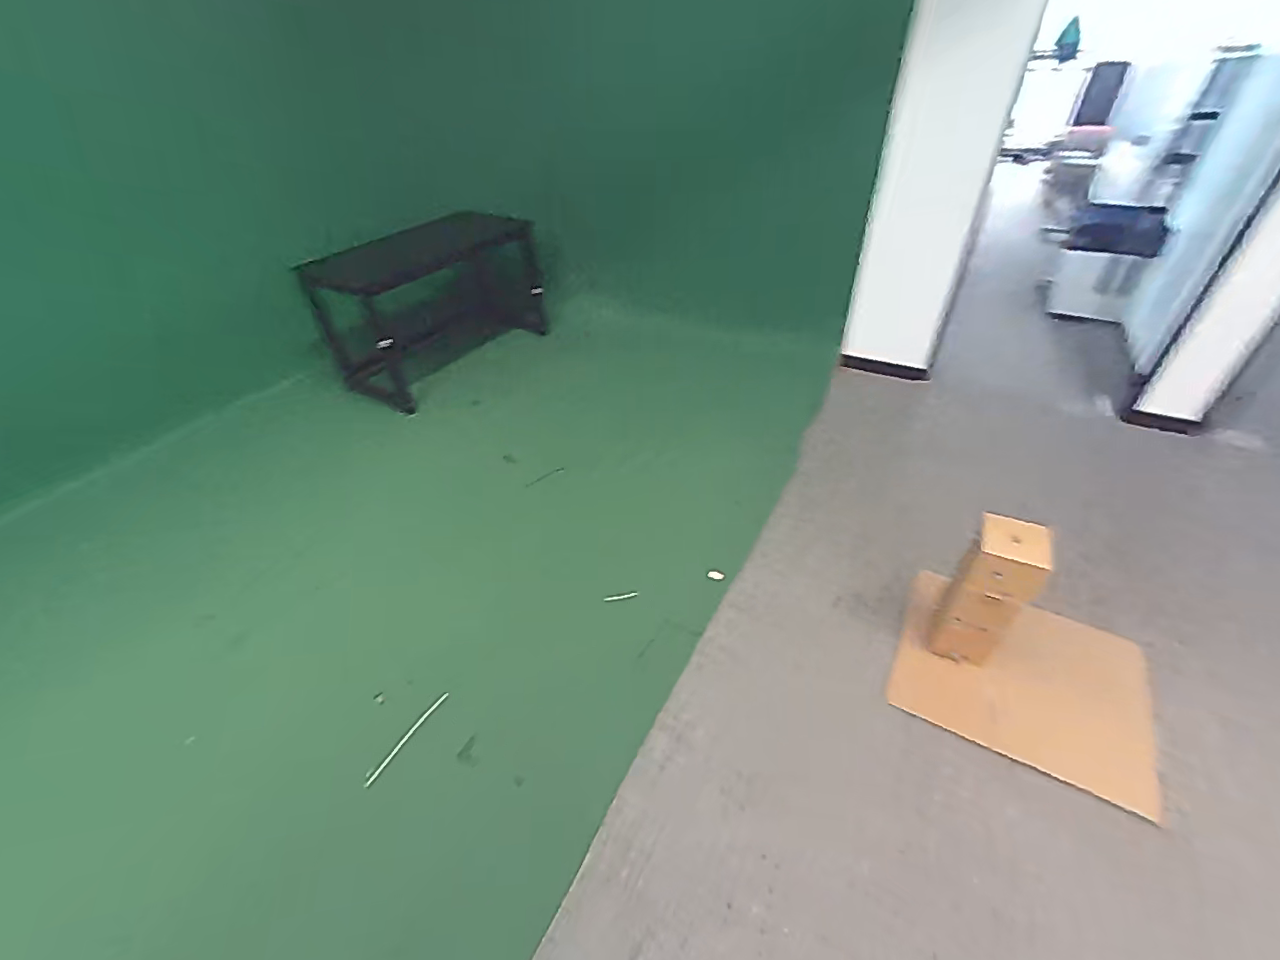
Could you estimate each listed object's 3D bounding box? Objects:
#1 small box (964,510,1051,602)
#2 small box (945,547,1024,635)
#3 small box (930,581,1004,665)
[{"bbox_3d":[1.052,0.220,1.556,0.168,0.176,0.179,16,43,22],"label":"small box"},{"bbox_3d":[1.054,0.343,1.662,0.168,0.176,0.179,15,43,21],"label":"small box"},{"bbox_3d":[1.062,0.467,1.767,0.168,0.176,0.179,13,44,19],"label":"small box"}]
